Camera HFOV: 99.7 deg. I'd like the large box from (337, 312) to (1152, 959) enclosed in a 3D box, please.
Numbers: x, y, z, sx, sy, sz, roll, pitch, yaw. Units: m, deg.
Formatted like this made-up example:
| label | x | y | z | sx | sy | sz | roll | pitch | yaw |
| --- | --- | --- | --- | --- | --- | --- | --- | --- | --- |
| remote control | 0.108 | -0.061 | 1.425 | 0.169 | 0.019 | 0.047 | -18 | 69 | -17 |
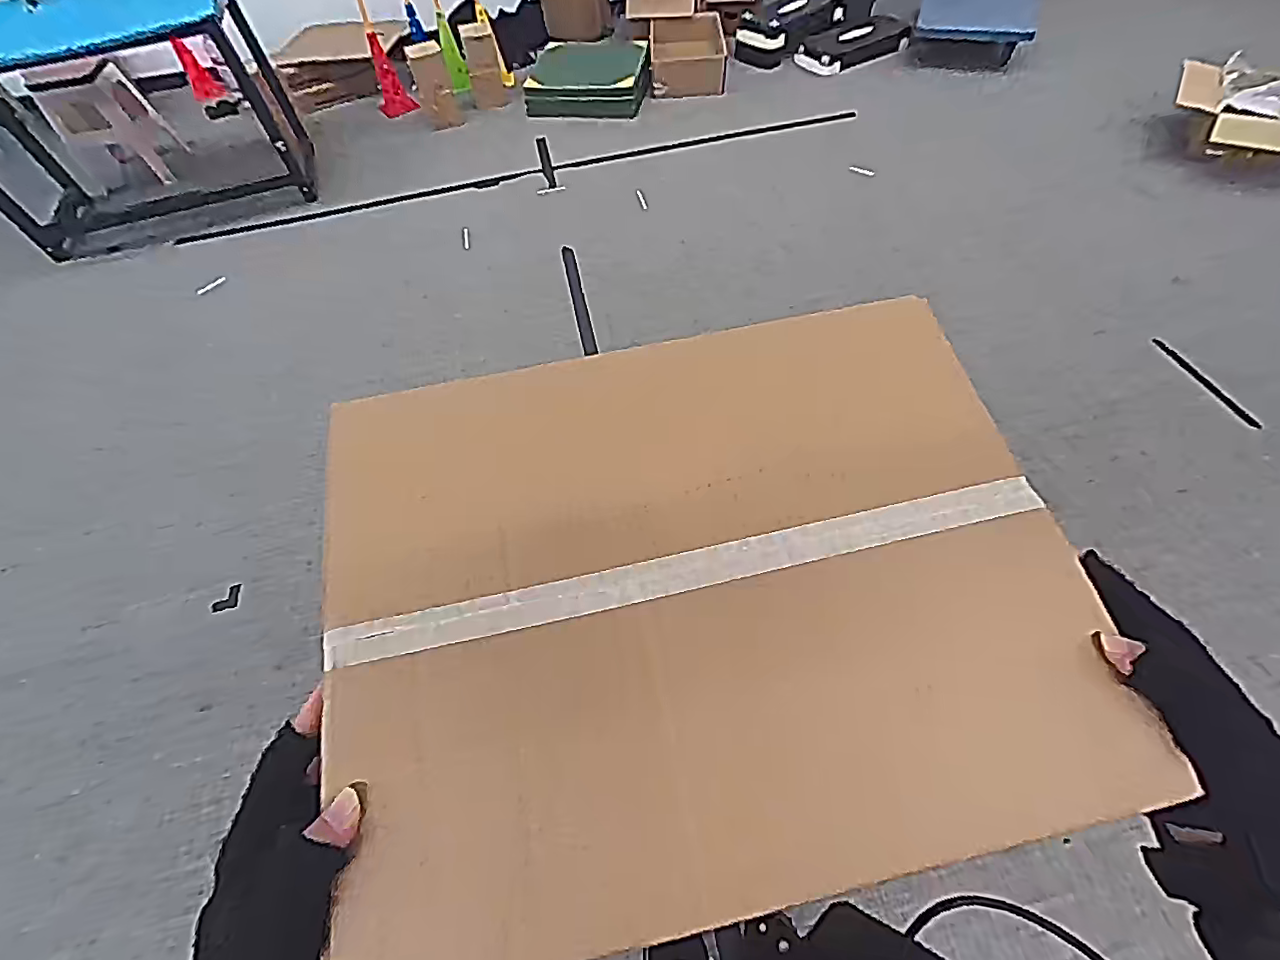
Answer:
| label | x | y | z | sx | sy | sz | roll | pitch | yaw |
| --- | --- | --- | --- | --- | --- | --- | --- | --- | --- |
| large box | 0.034 | 0.117 | 0.445 | 0.408 | 0.320 | 0.320 | -12 | 66 | -4 |
